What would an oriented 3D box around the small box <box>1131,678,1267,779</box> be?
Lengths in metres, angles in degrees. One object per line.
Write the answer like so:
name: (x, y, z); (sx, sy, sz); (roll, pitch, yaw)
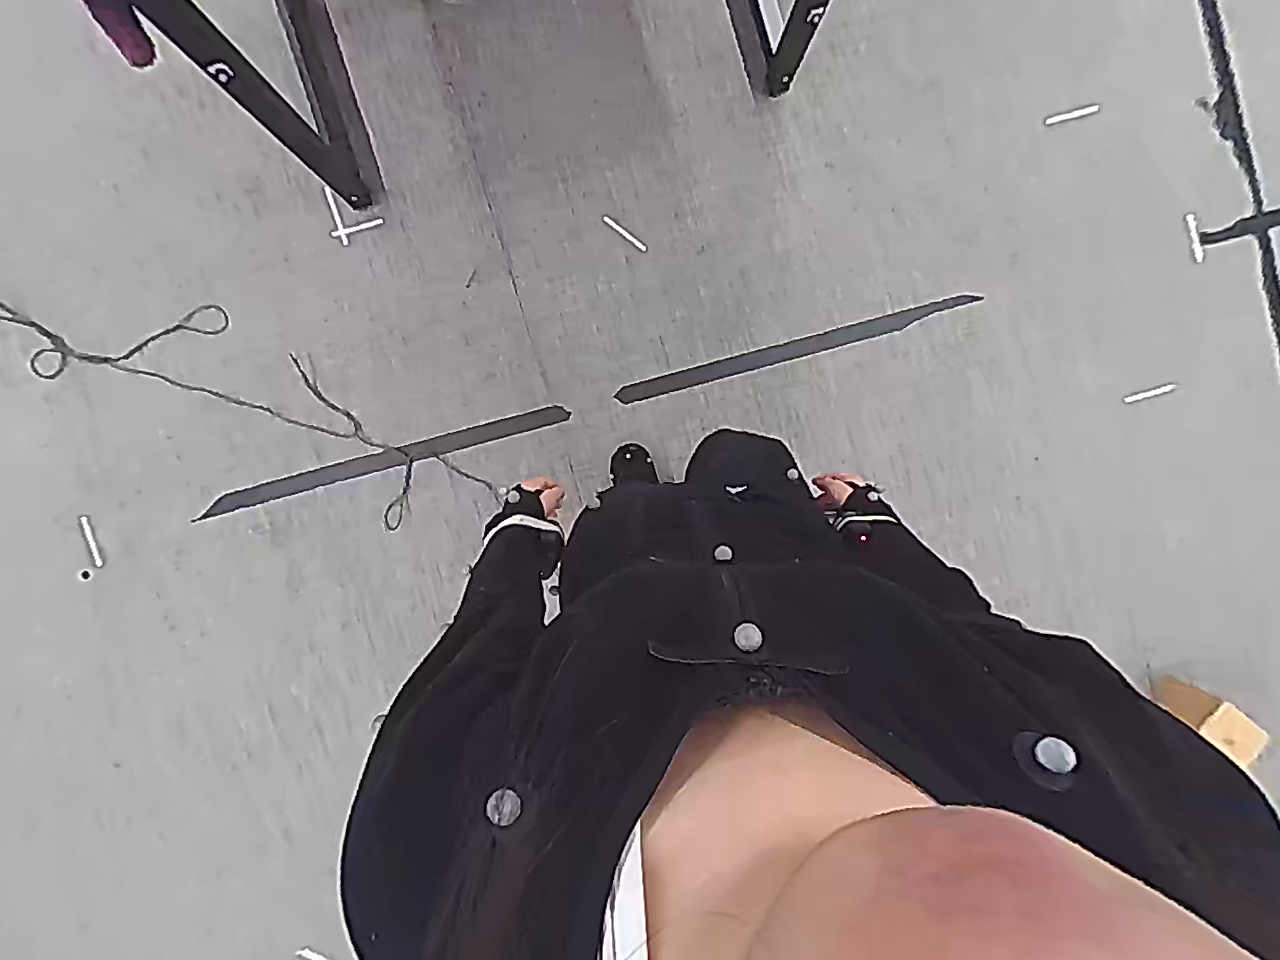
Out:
small box: (1.559, 0.686, 1.521); (0.179, 0.176, 0.168); (36, 92, -5)
